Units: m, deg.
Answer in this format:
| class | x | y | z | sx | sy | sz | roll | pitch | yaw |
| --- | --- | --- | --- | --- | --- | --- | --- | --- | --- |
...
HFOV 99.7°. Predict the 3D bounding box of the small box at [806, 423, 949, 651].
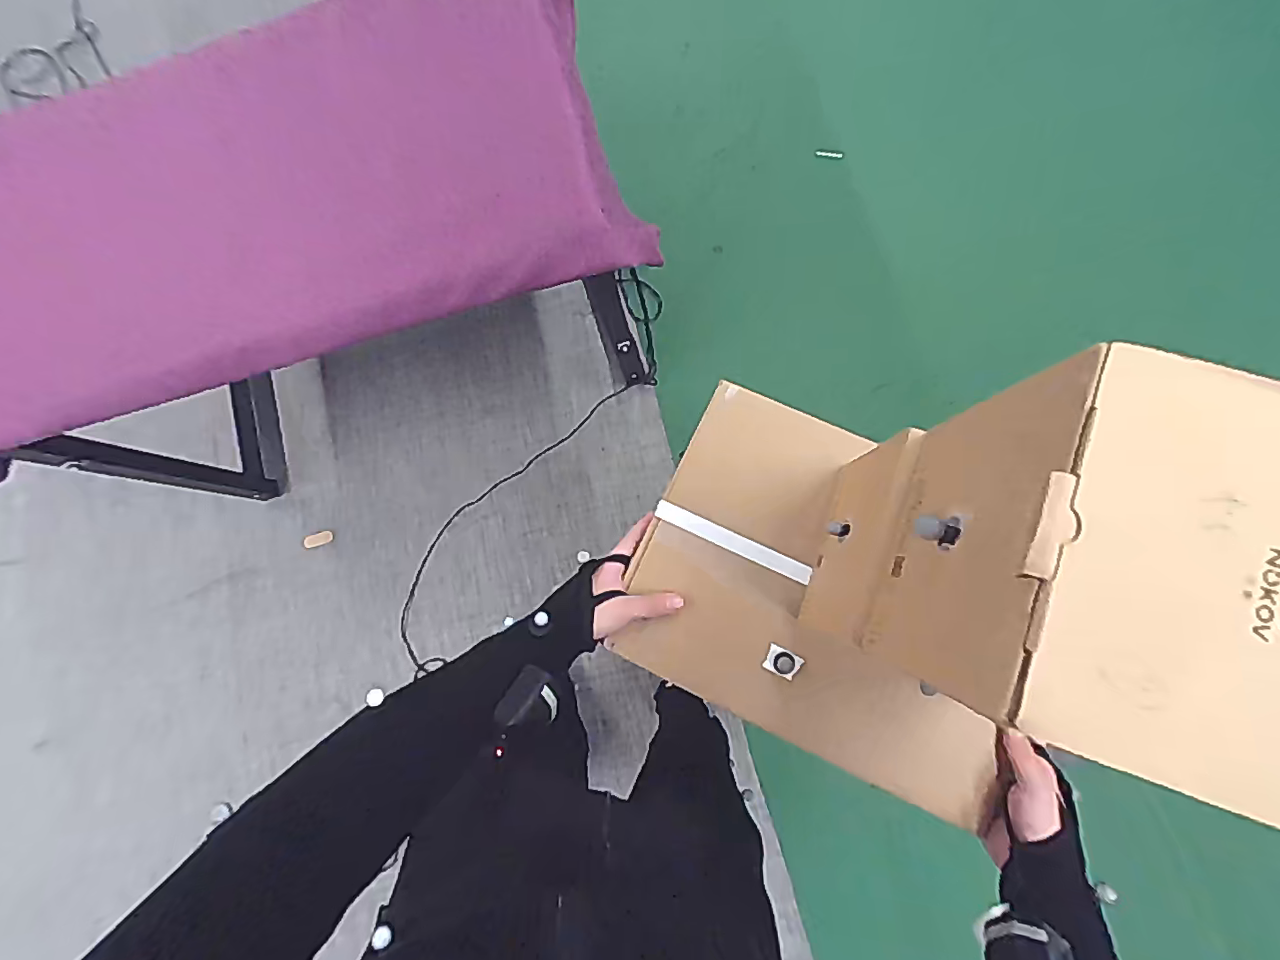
| class | x | y | z | sx | sy | sz | roll | pitch | yaw |
| --- | --- | --- | --- | --- | --- | --- | --- | --- | --- |
| small box | 0.257 | 0.071 | 0.453 | 0.179 | 0.176 | 0.168 | 19 | 84 | 7 |
